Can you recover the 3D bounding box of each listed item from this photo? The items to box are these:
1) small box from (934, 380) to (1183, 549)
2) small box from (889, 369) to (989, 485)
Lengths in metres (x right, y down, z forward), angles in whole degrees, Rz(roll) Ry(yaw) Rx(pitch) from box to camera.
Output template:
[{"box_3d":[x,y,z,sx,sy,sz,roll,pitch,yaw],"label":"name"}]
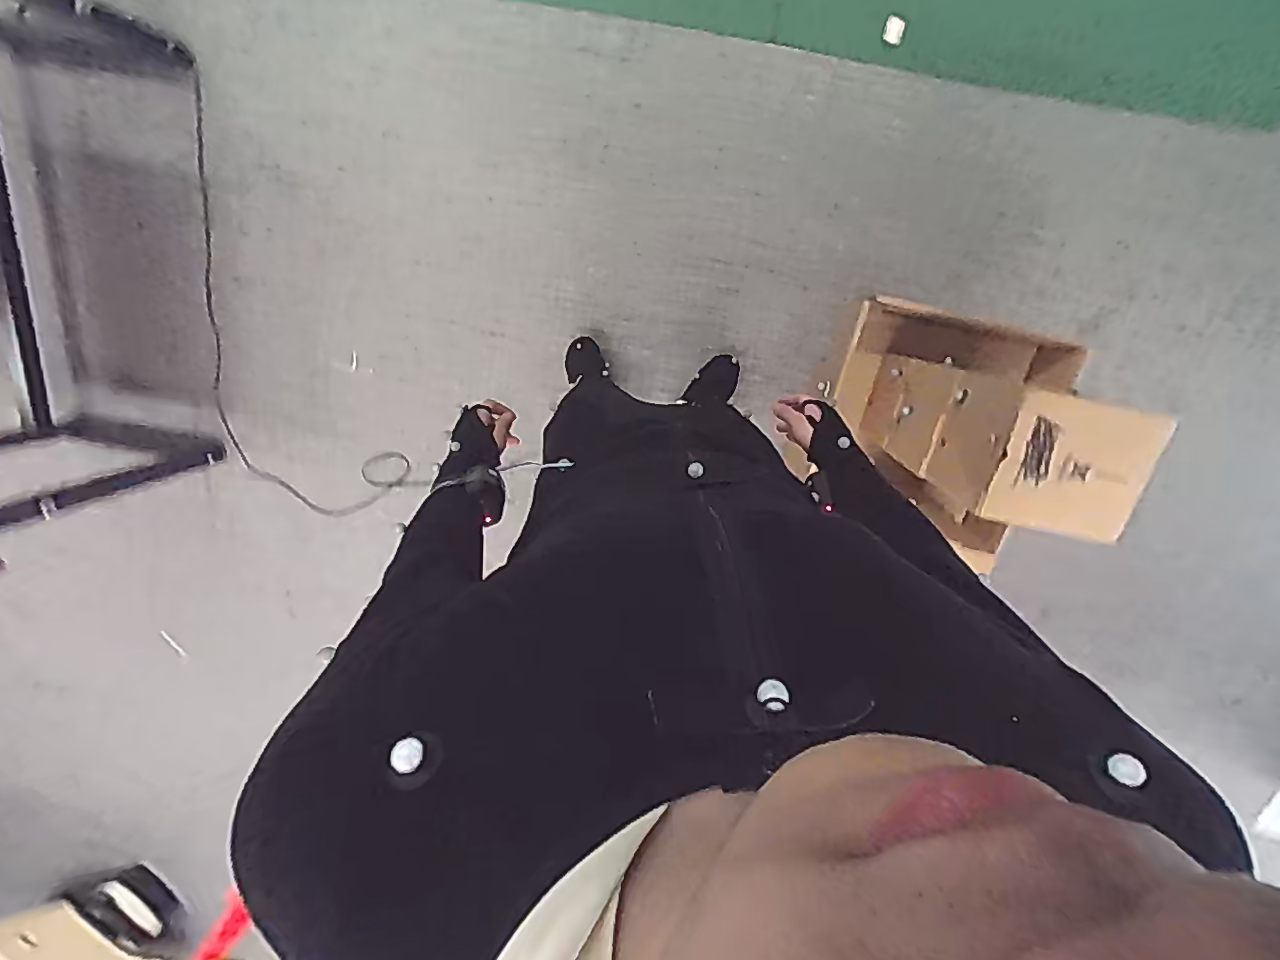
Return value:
[{"box_3d":[0.533,-0.032,0.724,0.179,0.176,0.168,12,109,2],"label":"small box"},{"box_3d":[0.543,-0.078,0.881,0.179,0.176,0.168,13,108,2],"label":"small box"}]
